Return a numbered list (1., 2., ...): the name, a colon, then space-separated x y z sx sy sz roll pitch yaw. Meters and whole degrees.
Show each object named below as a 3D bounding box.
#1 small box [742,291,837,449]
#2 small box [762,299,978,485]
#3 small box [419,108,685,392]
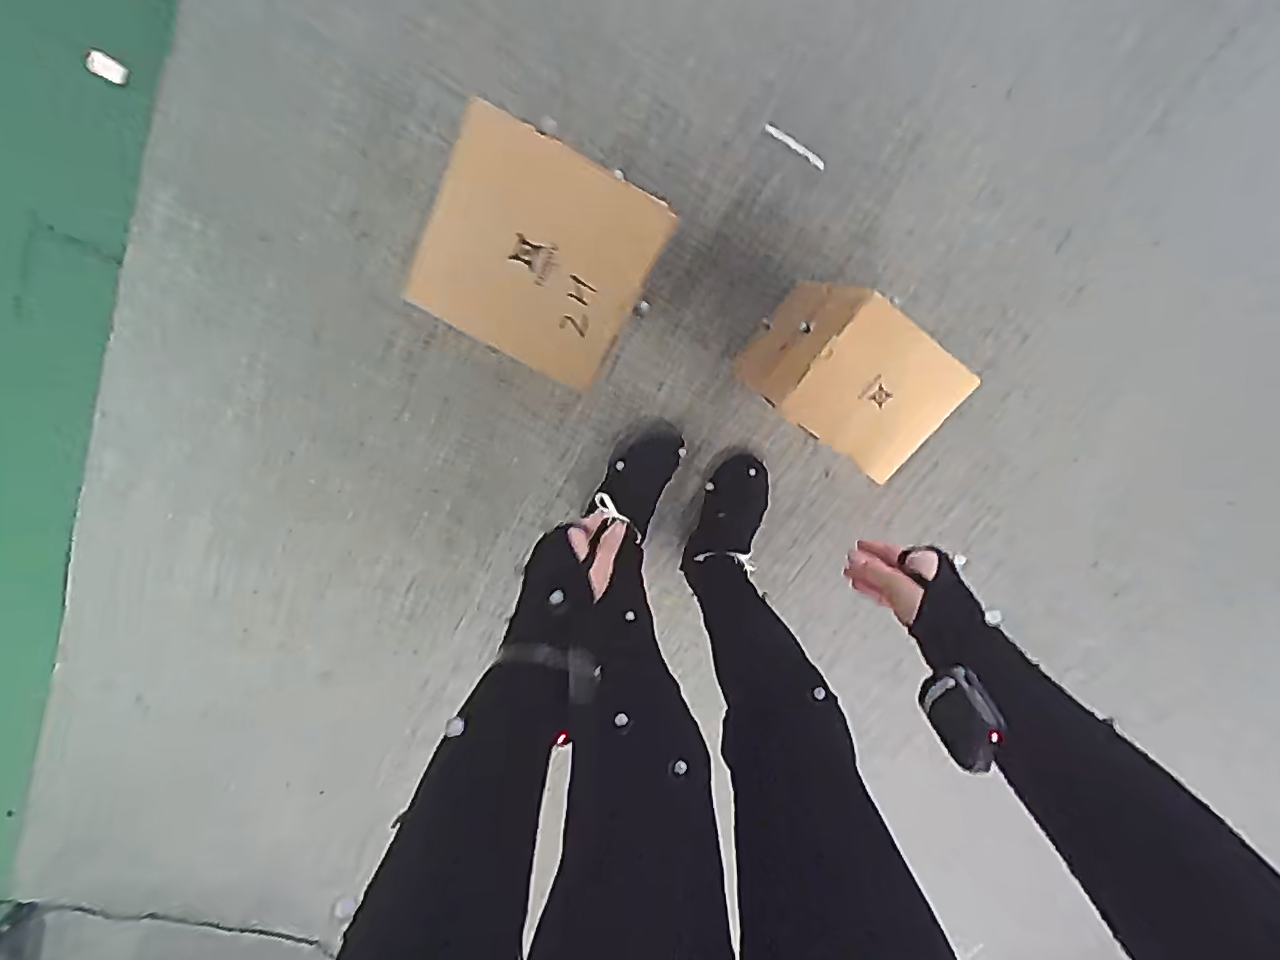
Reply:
1. small box: 0.283 -0.184 0.877 0.168 0.176 0.179 35 109 -12
2. small box: 0.291 -0.127 0.724 0.179 0.176 0.168 34 108 -10
3. small box: -0.078 -0.211 0.527 0.179 0.176 0.168 26 109 -12
